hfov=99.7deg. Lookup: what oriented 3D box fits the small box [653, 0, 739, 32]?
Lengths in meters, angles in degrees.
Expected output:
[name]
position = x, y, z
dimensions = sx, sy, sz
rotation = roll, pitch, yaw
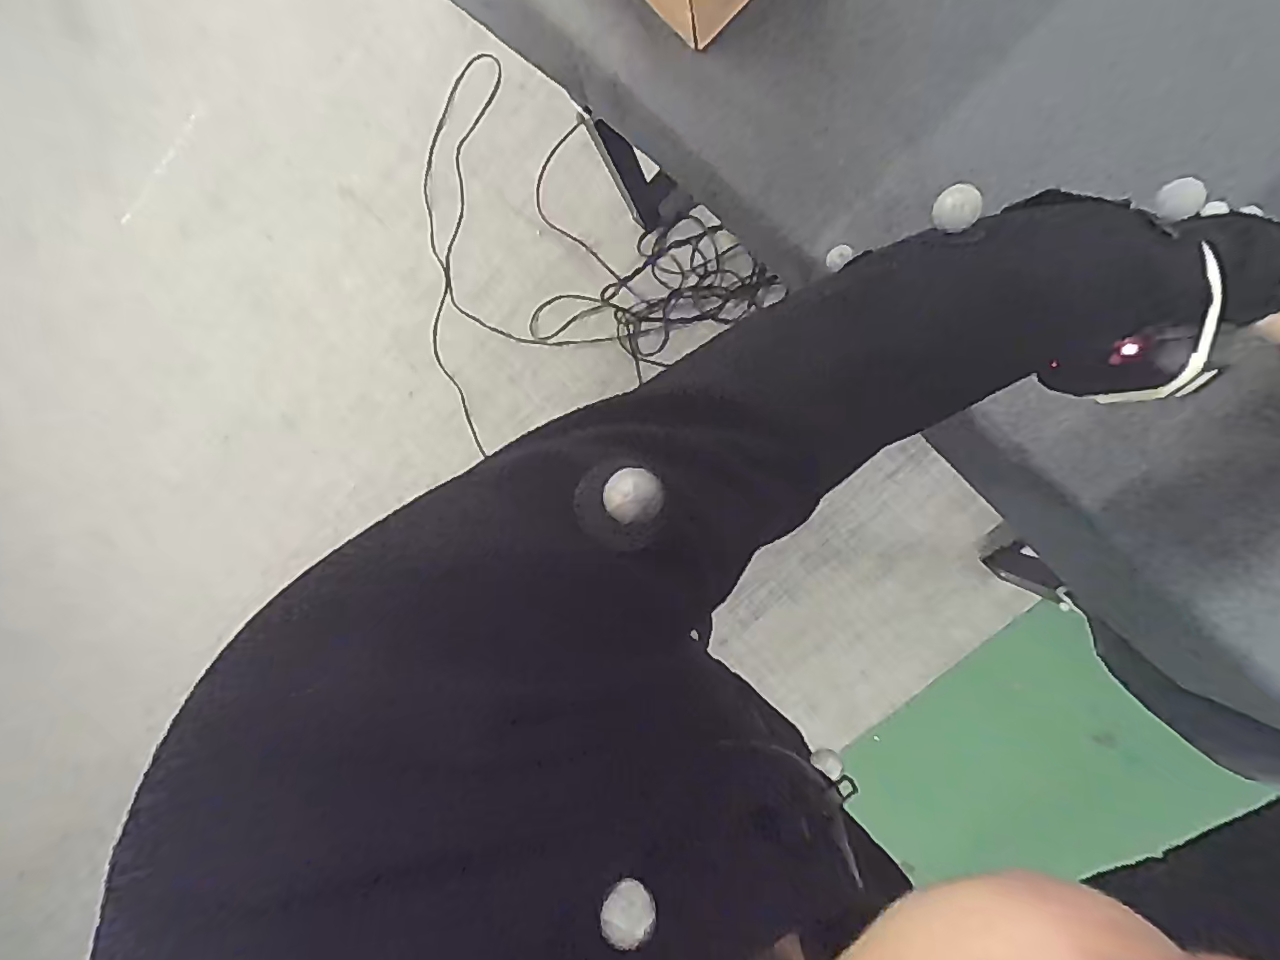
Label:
[small box]
position = 0.046, -0.565, 0.476
dimensions = 0.168, 0.176, 0.179
rotation = -41, 83, 10
